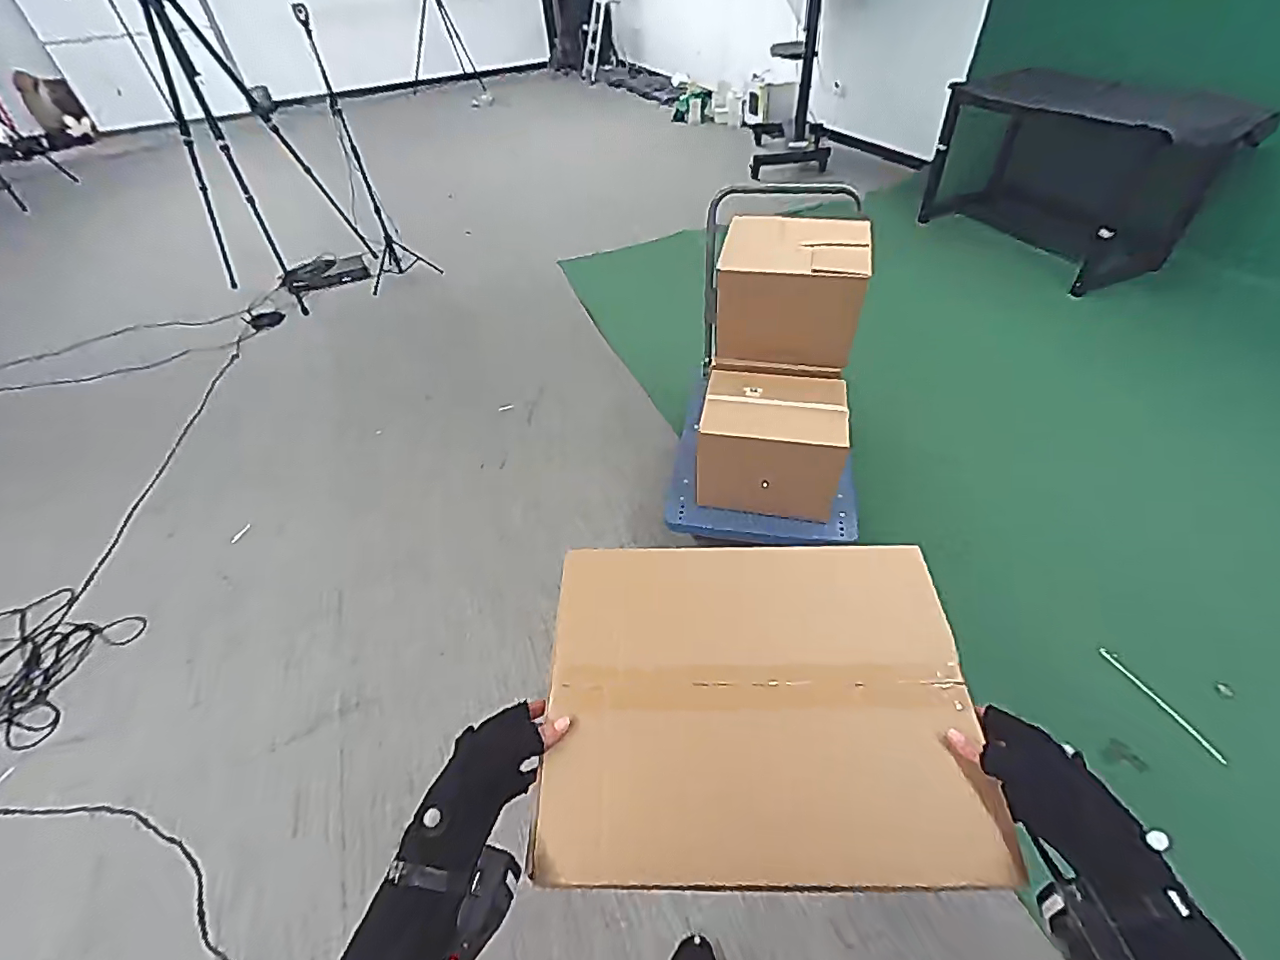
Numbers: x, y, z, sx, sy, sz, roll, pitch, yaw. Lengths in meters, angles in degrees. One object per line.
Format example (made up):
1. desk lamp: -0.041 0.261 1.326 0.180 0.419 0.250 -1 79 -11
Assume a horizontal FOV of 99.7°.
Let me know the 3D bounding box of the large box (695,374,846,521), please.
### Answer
1. large box: 0.391 -0.101 1.657 0.408 0.320 0.320 7 46 13
